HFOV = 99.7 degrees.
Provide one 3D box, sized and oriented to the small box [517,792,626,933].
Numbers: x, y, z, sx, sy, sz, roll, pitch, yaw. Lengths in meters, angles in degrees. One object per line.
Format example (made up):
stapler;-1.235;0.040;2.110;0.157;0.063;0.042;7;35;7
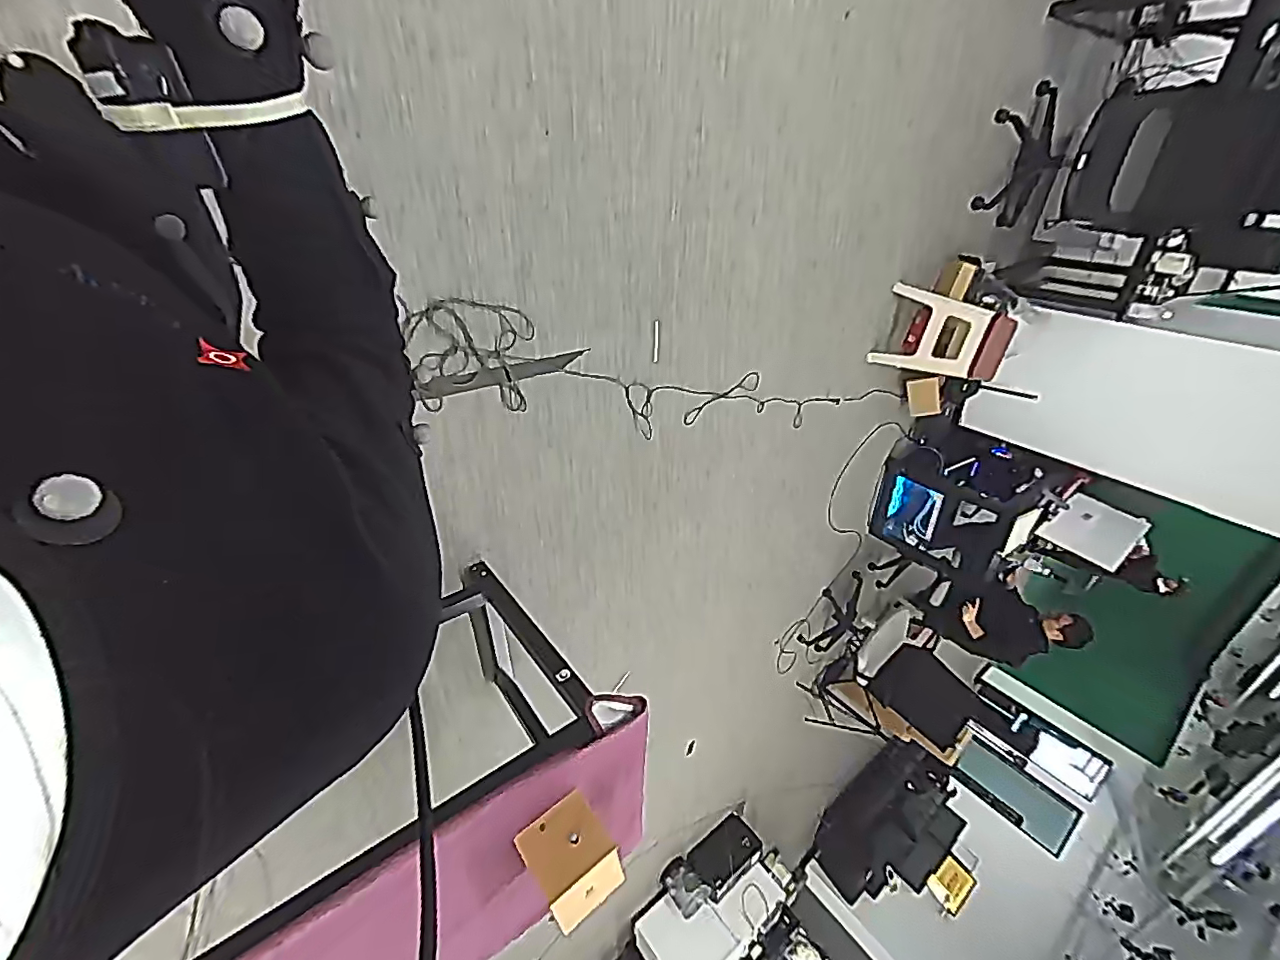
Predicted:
small box;-0.155;0.846;1.213;0.168;0.176;0.179;-28;130;-27
